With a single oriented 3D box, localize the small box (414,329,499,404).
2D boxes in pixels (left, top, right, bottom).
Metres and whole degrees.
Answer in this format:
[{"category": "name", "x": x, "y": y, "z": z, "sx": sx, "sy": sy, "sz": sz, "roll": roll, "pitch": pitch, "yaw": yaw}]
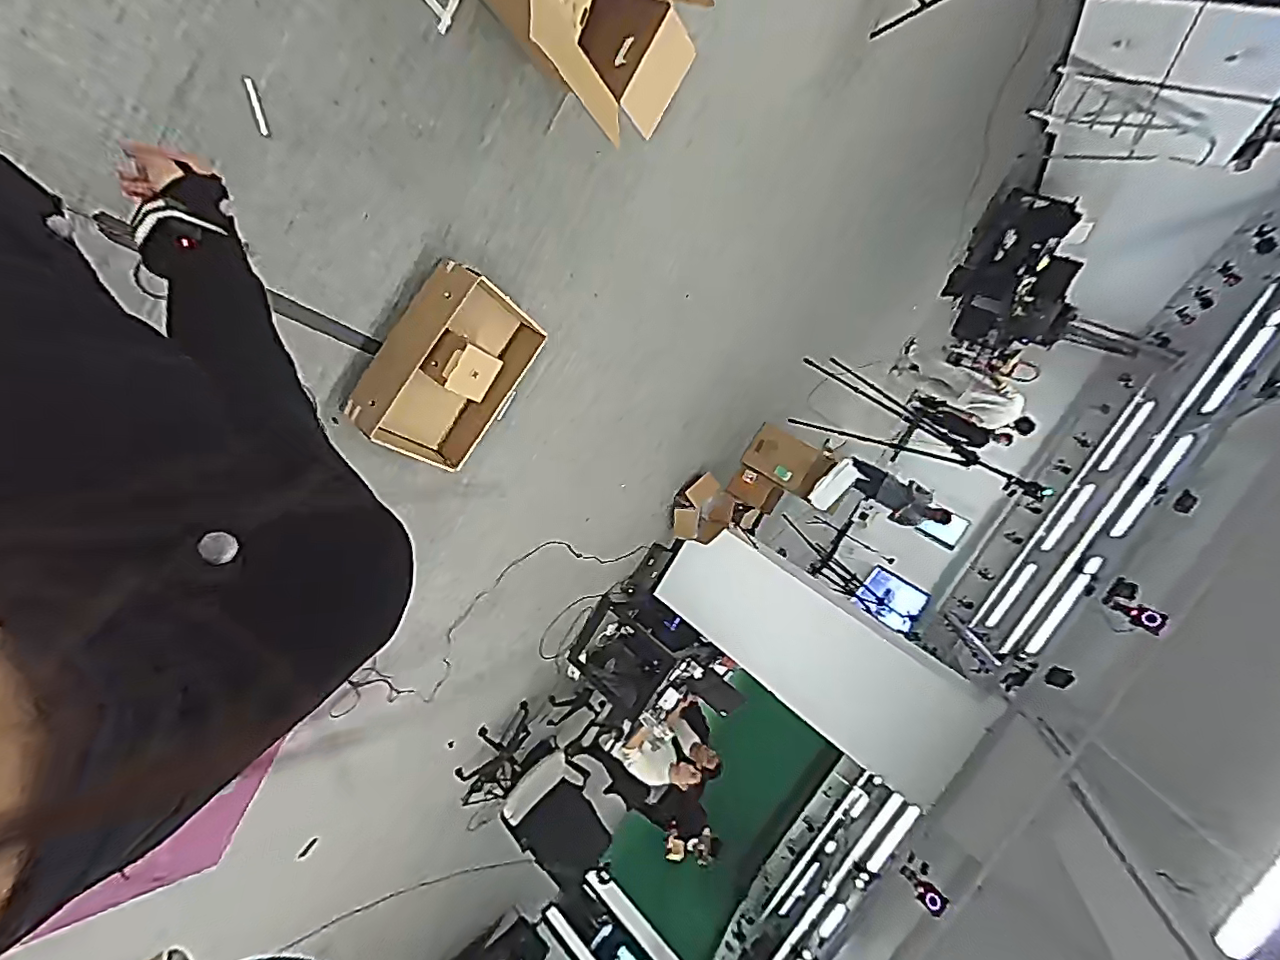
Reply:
[{"category": "small box", "x": -0.620, "y": -0.387, "z": 1.818, "sx": 0.168, "sy": 0.176, "sz": 0.179, "roll": -57, "pitch": 153, "yaw": 6}]
